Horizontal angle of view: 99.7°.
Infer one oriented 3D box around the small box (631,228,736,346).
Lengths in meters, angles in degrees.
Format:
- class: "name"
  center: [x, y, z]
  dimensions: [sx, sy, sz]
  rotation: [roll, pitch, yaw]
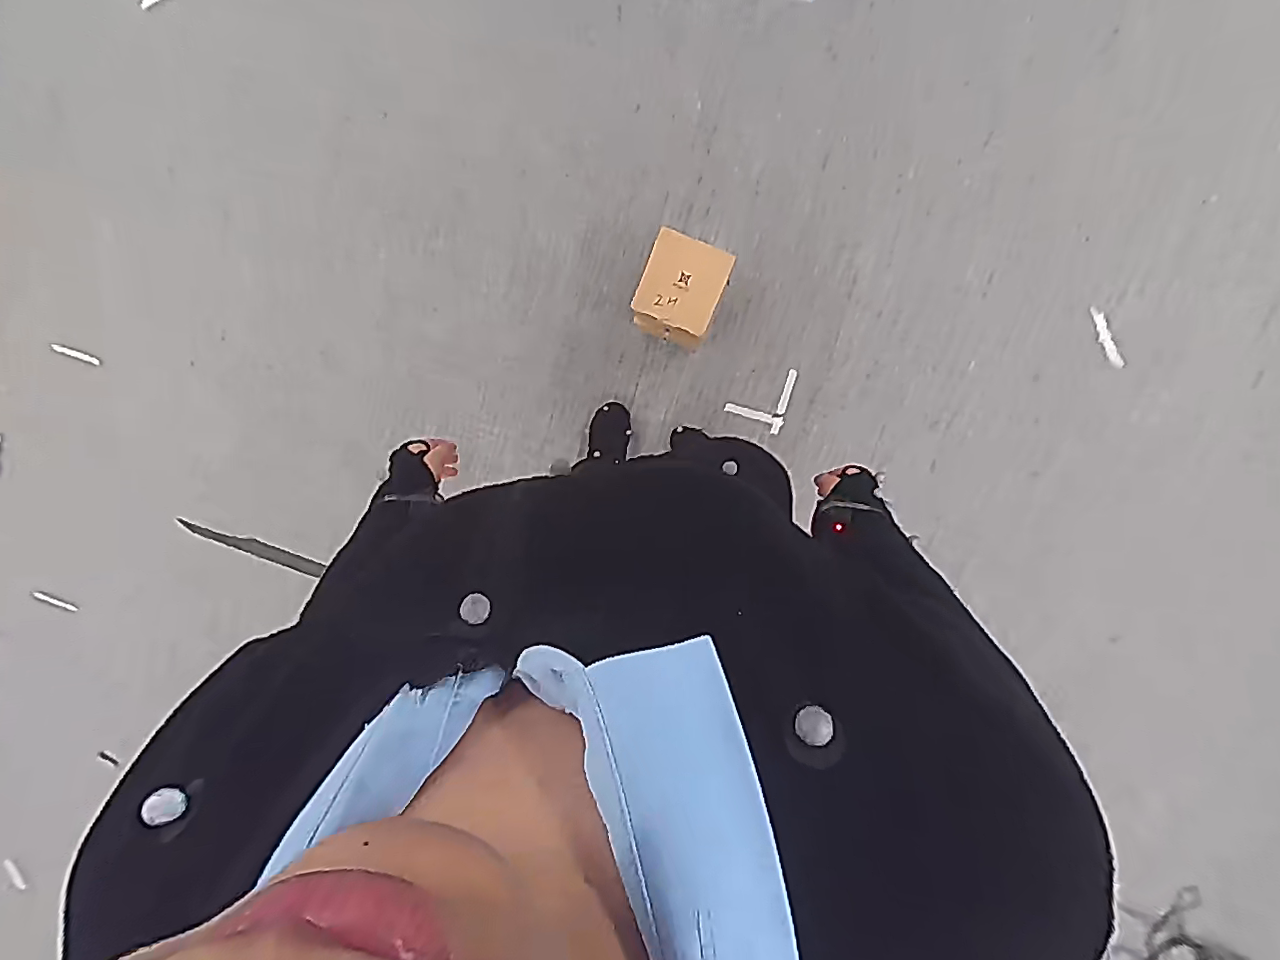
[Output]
- class: "small box"
  center: [0.093, -0.410, 1.179]
  dimensions: [0.168, 0.176, 0.179]
  rotation: [24, 100, 3]
